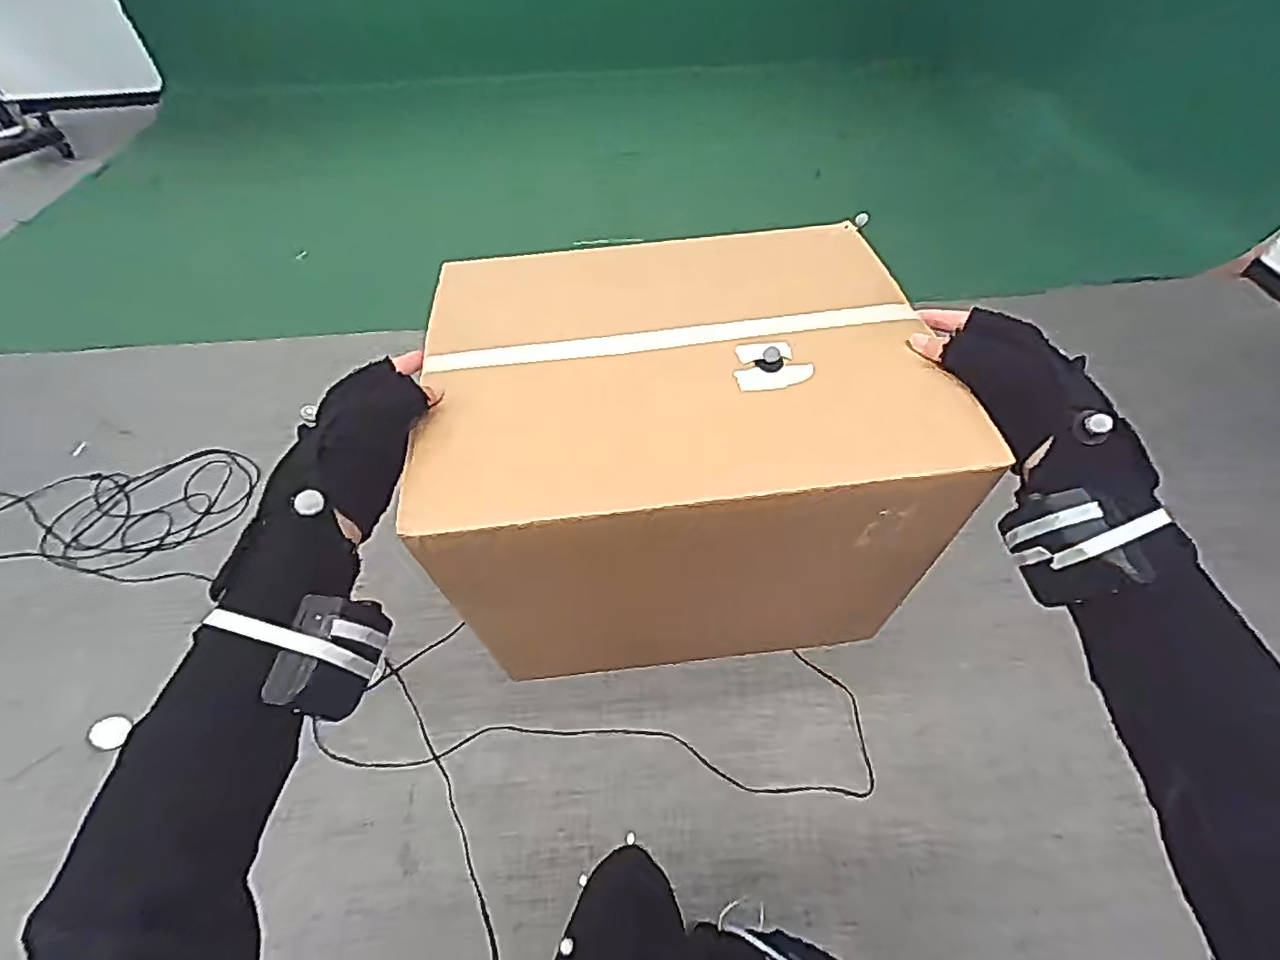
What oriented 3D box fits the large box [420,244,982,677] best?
[{"bbox_3d":[0.033,-0.013,0.577,0.408,0.320,0.320,-6,53,-2],"label":"large box"}]
